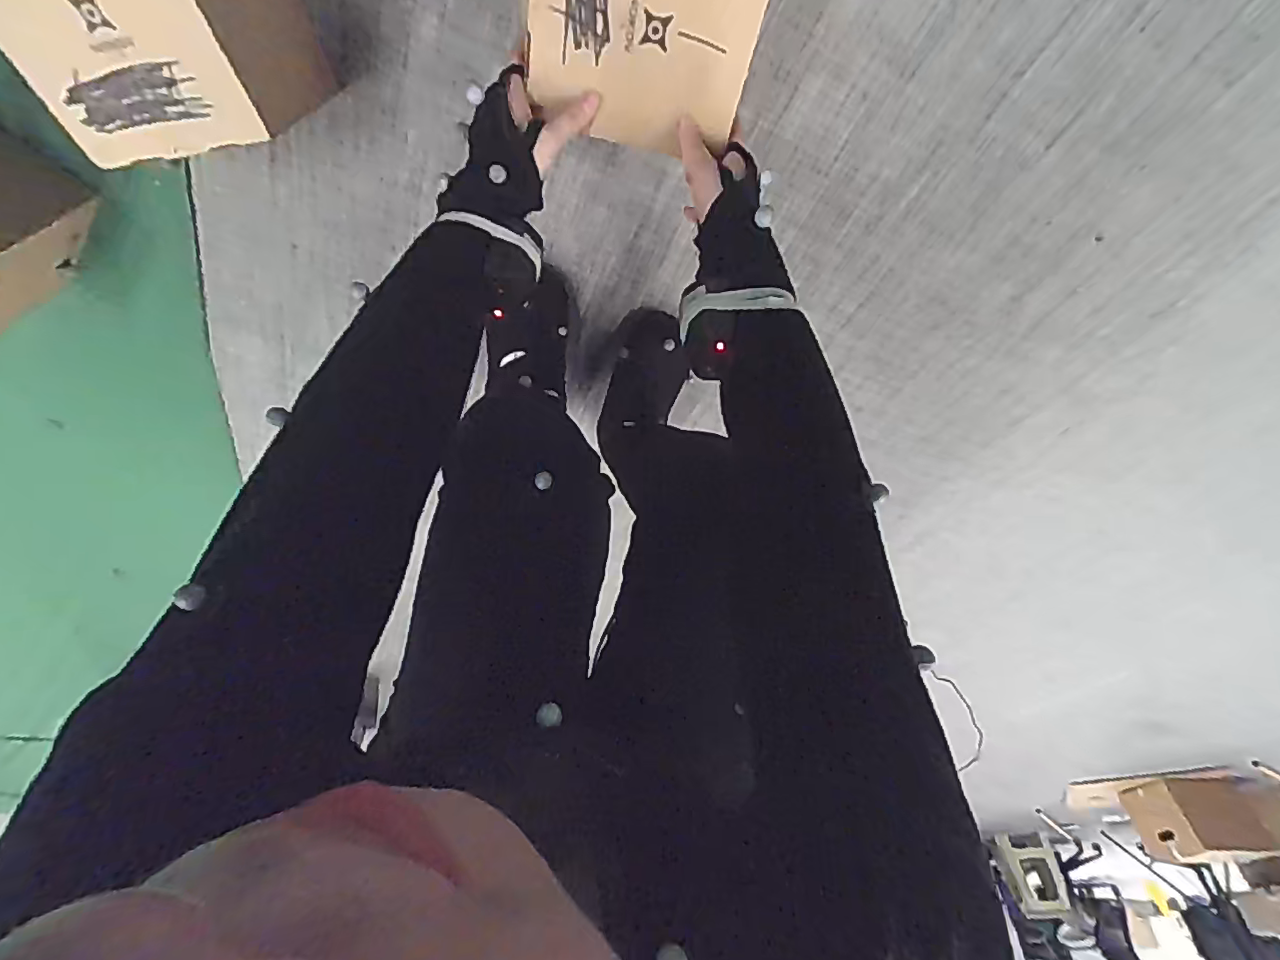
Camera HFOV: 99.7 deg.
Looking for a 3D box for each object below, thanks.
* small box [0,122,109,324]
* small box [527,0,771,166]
[{"bbox_3d":[-0.746,-0.288,0.580,0.168,0.176,0.179,-32,129,29],"label":"small box"},{"bbox_3d":[0.005,-0.406,0.470,0.179,0.176,0.168,7,136,-10],"label":"small box"}]
